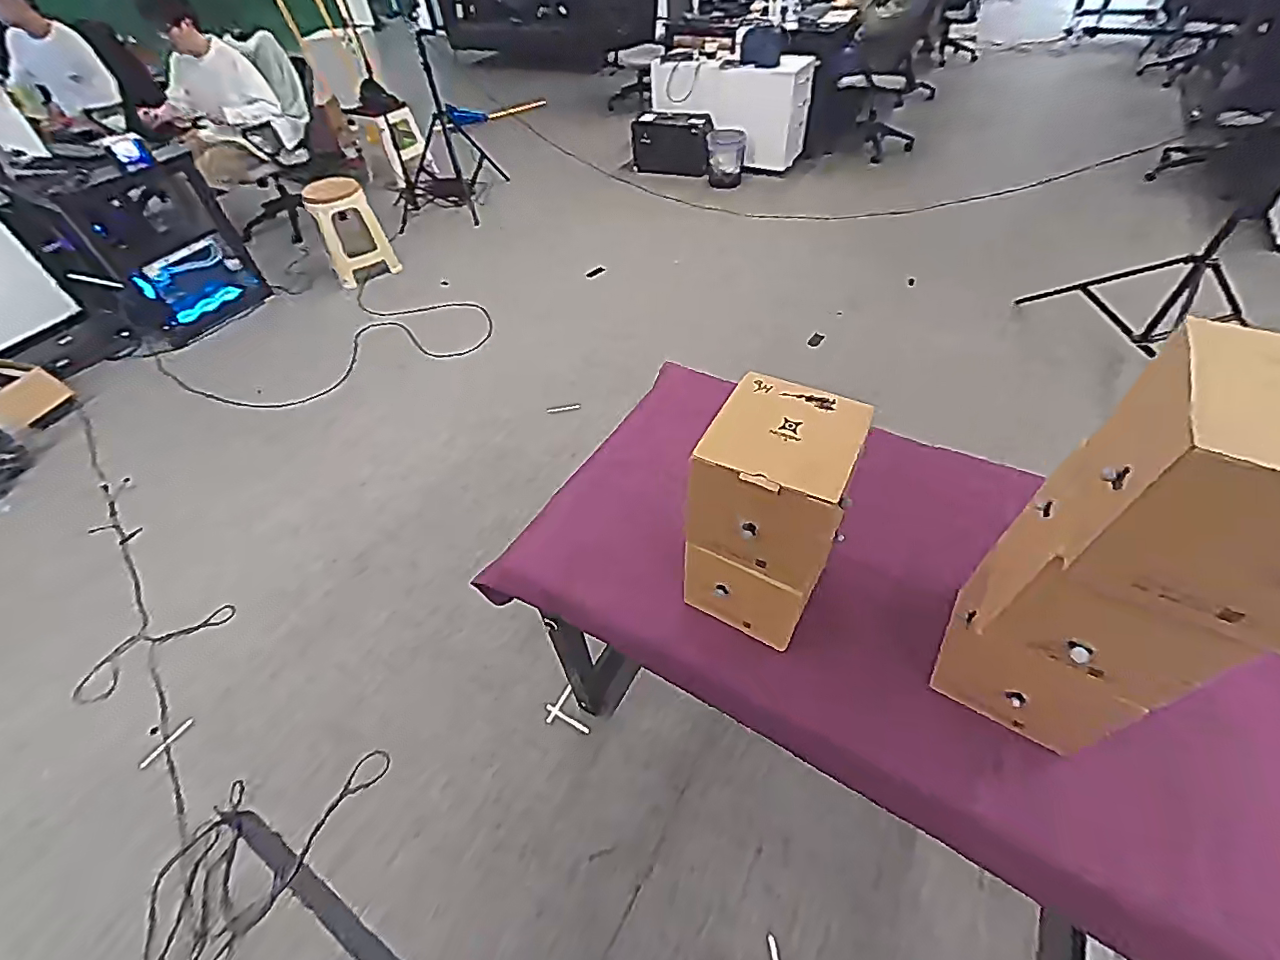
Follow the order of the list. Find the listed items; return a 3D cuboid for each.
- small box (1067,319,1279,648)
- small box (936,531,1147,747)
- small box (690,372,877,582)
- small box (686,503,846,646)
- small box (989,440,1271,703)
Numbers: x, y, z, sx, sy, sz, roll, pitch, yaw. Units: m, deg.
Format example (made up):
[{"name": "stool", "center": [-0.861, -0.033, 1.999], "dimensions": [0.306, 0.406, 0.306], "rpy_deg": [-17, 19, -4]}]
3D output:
[{"name": "small box", "center": [0.483, 0.003, 0.436], "dimensions": [0.168, 0.176, 0.179], "rpy_deg": [23, 53, 21]}, {"name": "small box", "center": [0.506, 0.205, 0.692], "dimensions": [0.168, 0.176, 0.179], "rpy_deg": [26, 55, 23]}, {"name": "small box", "center": [0.174, -0.003, 0.681], "dimensions": [0.168, 0.176, 0.179], "rpy_deg": [22, 53, 21]}, {"name": "small box", "center": [0.180, 0.112, 0.799], "dimensions": [0.168, 0.176, 0.179], "rpy_deg": [24, 53, 22]}, {"name": "small box", "center": [0.502, 0.095, 0.570], "dimensions": [0.168, 0.176, 0.179], "rpy_deg": [25, 55, 24]}]
